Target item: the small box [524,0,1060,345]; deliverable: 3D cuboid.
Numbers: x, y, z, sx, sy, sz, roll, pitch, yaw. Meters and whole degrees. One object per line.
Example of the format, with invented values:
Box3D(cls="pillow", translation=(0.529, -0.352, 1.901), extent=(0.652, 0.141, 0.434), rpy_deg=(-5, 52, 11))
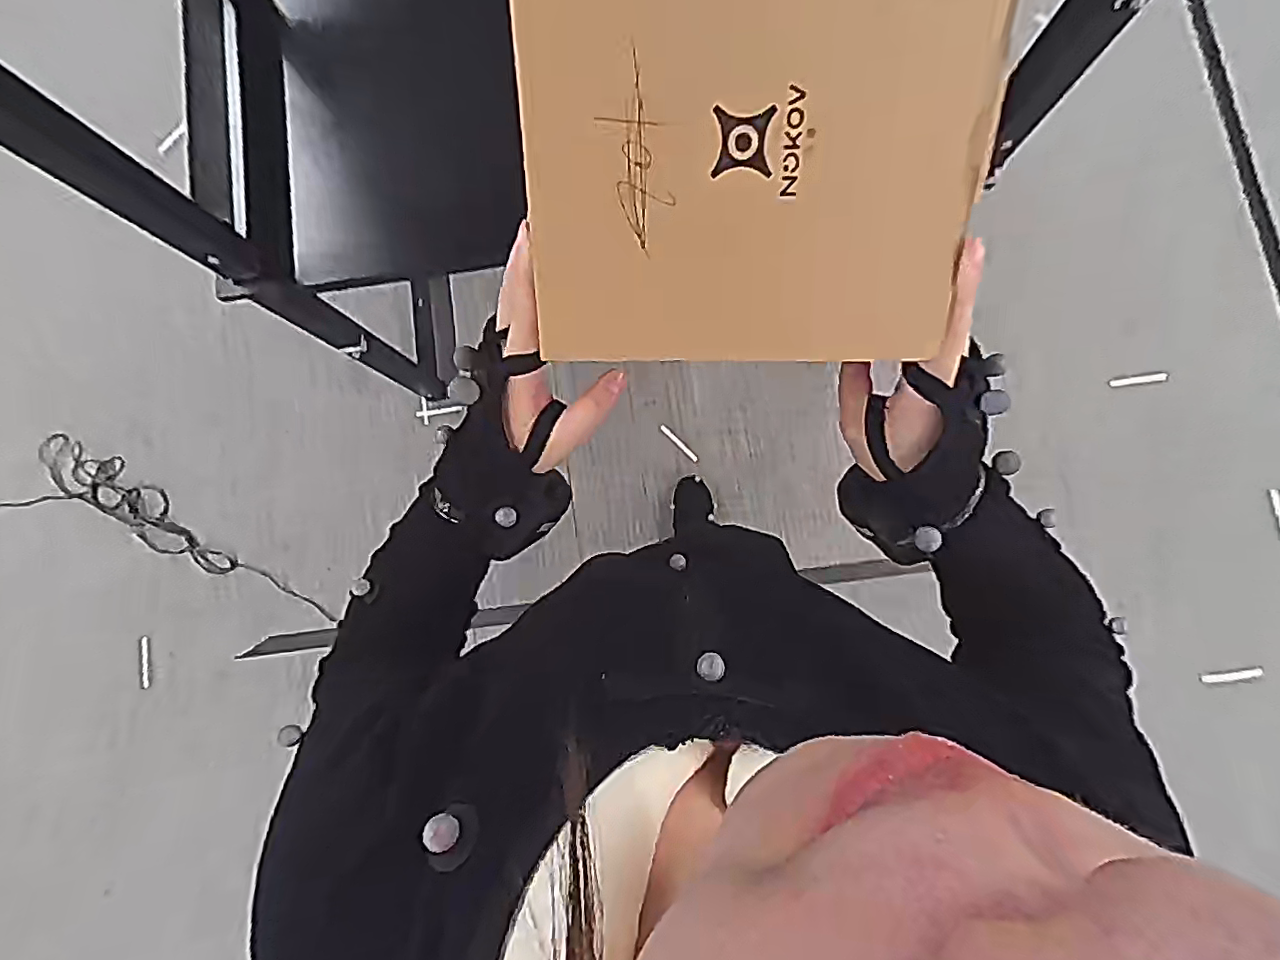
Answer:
Box3D(cls="small box", translation=(0.050, -0.165, 0.259), extent=(0.179, 0.176, 0.168), rpy_deg=(1, 116, 2))
